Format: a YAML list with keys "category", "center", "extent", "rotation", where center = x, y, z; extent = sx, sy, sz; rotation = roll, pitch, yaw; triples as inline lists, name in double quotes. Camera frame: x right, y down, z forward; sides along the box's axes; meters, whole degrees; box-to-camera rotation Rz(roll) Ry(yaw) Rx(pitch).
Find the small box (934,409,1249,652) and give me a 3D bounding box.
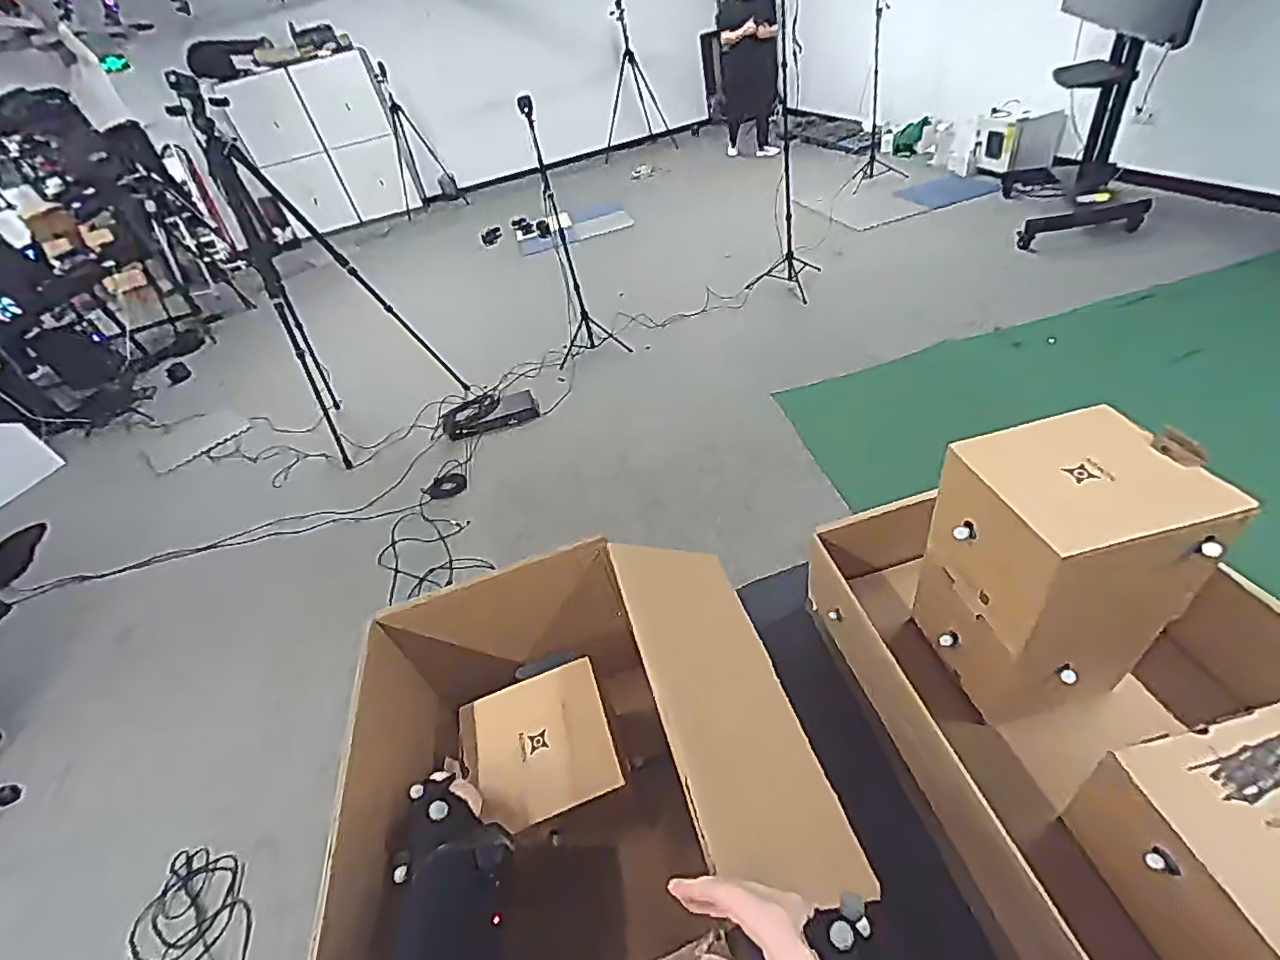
- category: "small box"
  center: [0.437, 0.056, 0.569]
  extent: [0.179, 0.176, 0.168]
  rotation: [-15, 42, 0]
